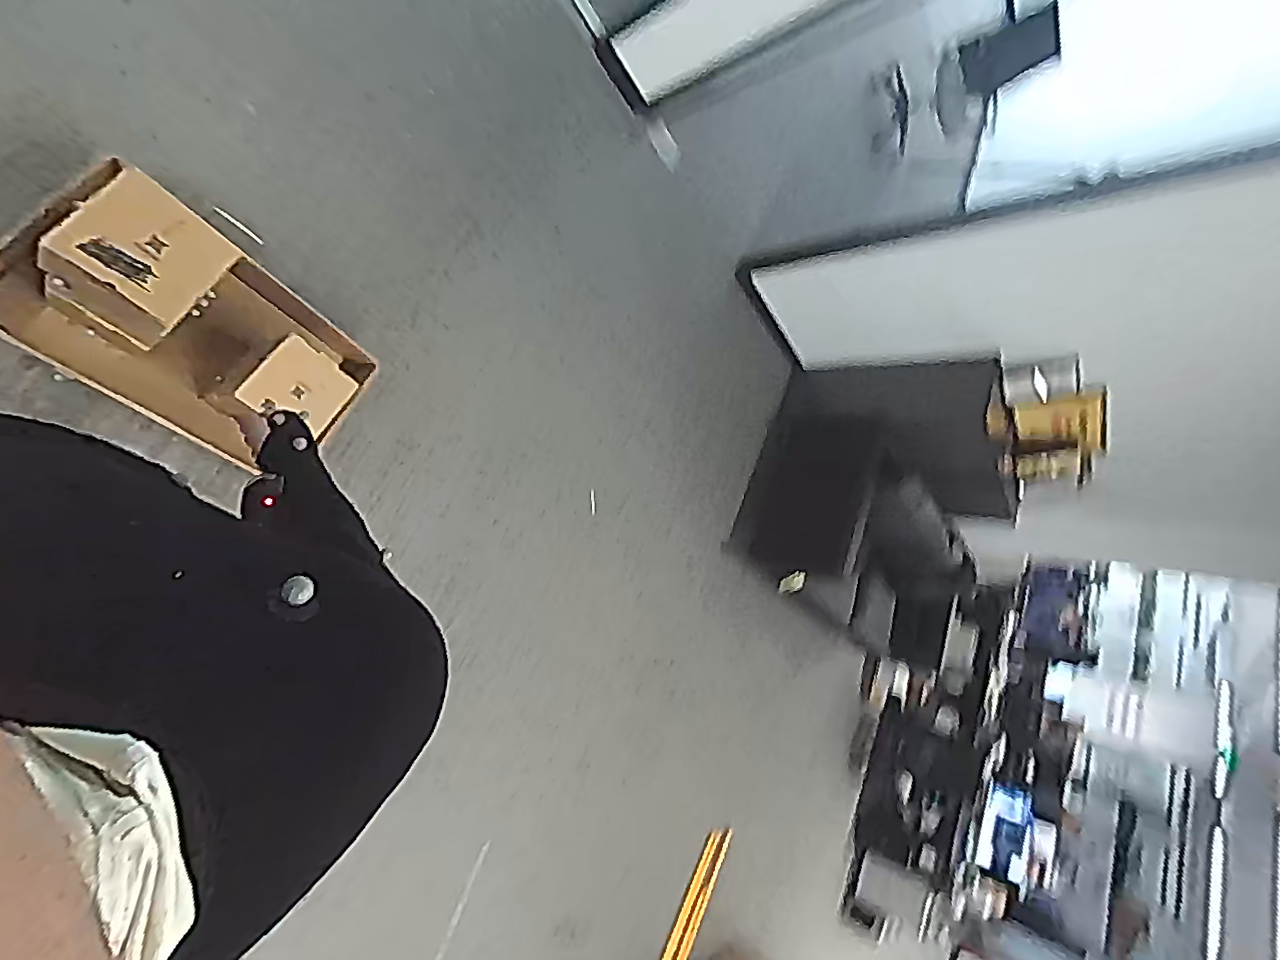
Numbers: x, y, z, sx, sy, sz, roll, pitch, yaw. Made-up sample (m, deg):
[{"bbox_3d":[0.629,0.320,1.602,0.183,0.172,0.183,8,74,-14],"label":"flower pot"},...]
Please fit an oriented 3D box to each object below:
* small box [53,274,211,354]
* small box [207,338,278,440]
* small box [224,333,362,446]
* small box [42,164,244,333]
[{"bbox_3d":[-1.032,-0.378,1.099,0.168,0.176,0.179,46,61,-40],"label":"small box"},{"bbox_3d":[-0.881,-0.212,1.283,0.168,0.176,0.179,47,62,-40],"label":"small box"},{"bbox_3d":[-0.758,-0.193,1.176,0.168,0.176,0.179,49,60,-38],"label":"small box"},{"bbox_3d":[-0.796,-0.359,0.873,0.168,0.176,0.179,46,60,-41],"label":"small box"}]
